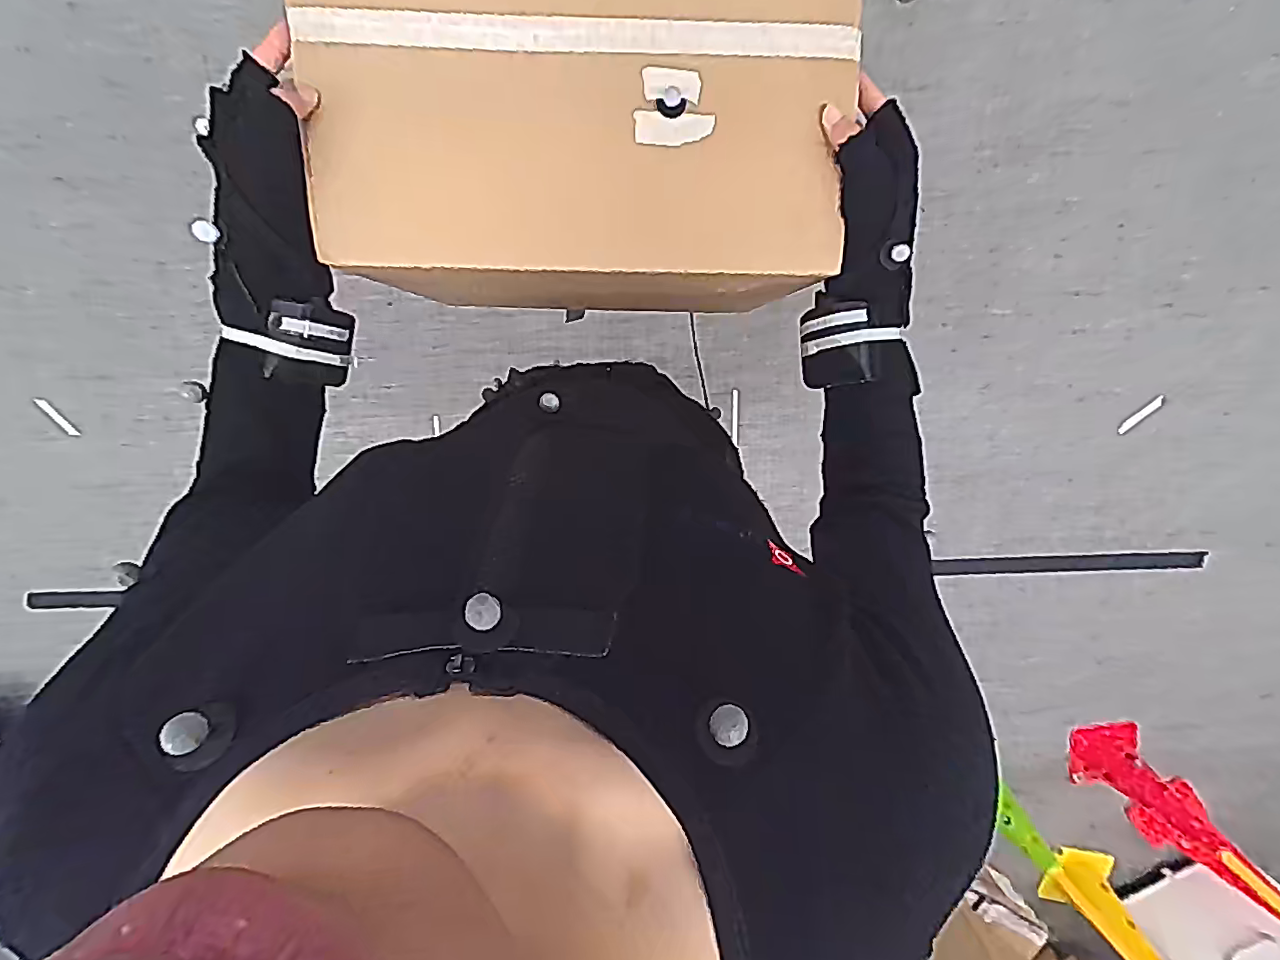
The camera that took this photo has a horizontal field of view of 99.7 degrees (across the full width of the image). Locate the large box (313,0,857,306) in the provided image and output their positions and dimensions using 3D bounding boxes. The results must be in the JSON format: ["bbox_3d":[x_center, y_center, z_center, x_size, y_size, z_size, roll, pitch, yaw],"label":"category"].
[{"bbox_3d":[-0.045,-0.355,0.543,0.408,0.320,0.320,0,102,-3],"label":"large box"}]
